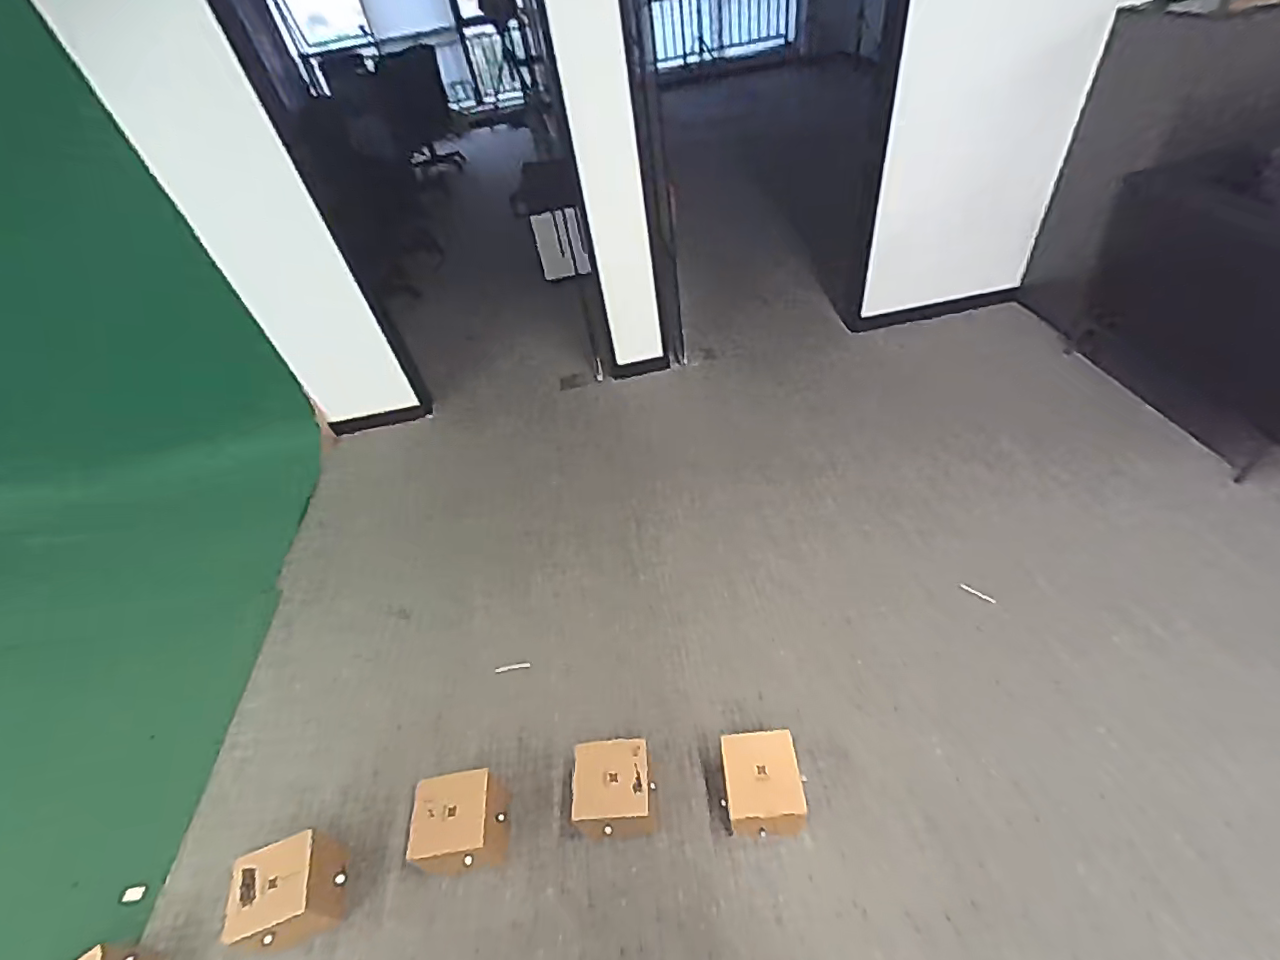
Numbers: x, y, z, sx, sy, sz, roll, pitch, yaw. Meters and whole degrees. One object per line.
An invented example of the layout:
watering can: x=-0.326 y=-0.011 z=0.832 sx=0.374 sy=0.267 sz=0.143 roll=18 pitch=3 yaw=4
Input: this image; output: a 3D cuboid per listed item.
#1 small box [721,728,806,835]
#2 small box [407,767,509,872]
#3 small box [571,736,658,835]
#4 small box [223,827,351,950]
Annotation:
small box: x=0.281 y=0.708 z=1.269 sx=0.168 sy=0.176 sz=0.179 roll=-7 pitch=45 yaw=4
small box: x=-0.424 y=0.815 z=1.297 sx=0.179 sy=0.176 sz=0.168 roll=-10 pitch=43 yaw=1
small box: x=-0.058 y=0.739 z=1.302 sx=0.179 sy=0.176 sz=0.168 roll=-7 pitch=45 yaw=5
small box: x=-0.798 y=0.941 z=1.243 sx=0.179 sy=0.176 sz=0.168 roll=-19 pitch=45 yaw=-9
